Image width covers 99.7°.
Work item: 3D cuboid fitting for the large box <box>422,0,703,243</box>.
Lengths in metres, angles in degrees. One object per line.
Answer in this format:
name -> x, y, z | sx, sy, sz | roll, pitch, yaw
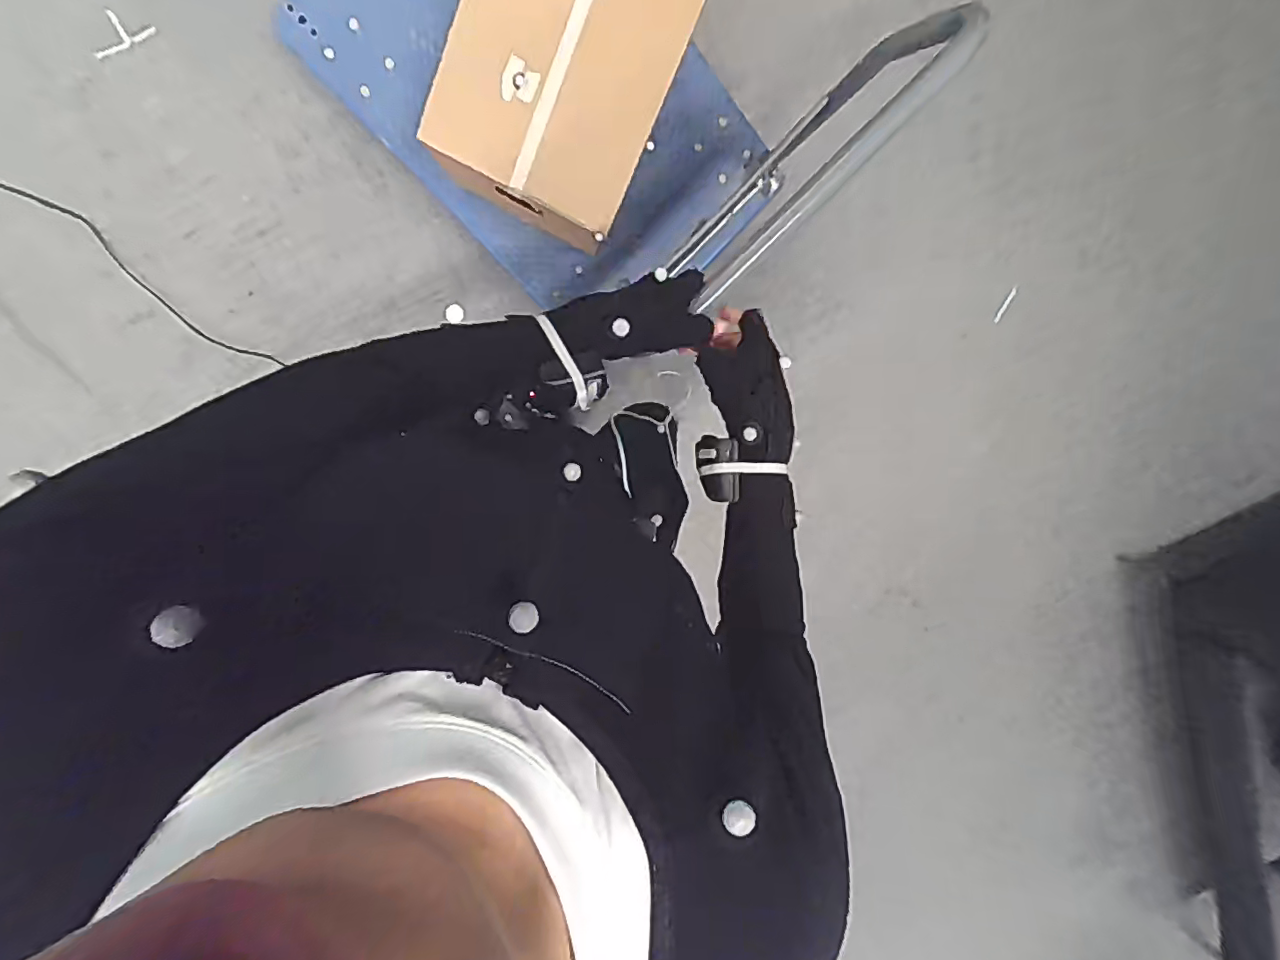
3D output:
large box -> -0.130, -0.685, 0.933 | 0.320, 0.320, 0.408 | 23, 104, -14
